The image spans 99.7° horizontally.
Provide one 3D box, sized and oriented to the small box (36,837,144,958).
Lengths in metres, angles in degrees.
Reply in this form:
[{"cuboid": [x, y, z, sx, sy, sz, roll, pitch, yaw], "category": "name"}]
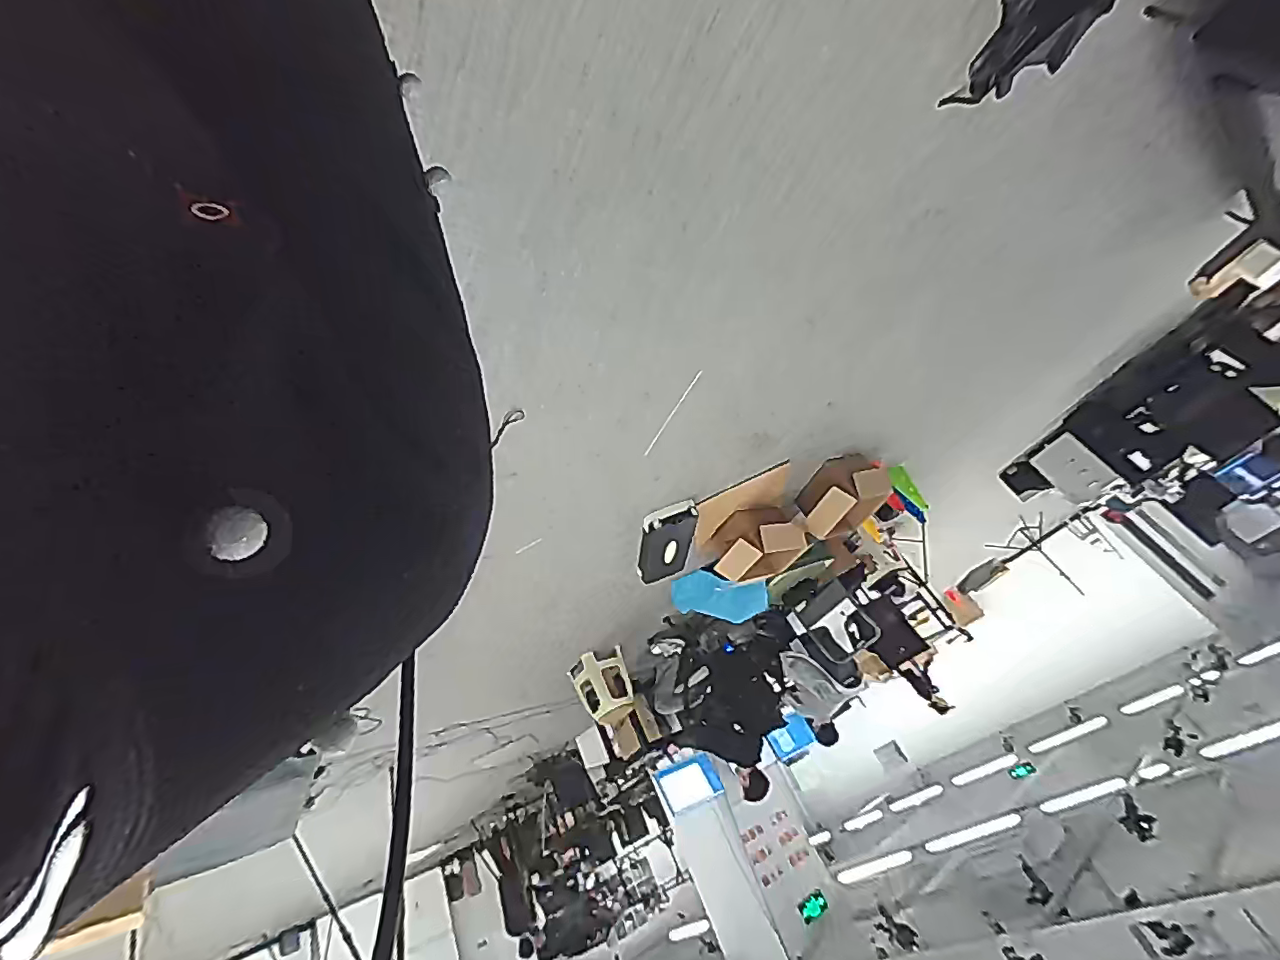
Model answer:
[{"cuboid": [-1.307, 0.991, 1.295, 0.168, 0.176, 0.179, 2, 139, -39], "category": "small box"}]
